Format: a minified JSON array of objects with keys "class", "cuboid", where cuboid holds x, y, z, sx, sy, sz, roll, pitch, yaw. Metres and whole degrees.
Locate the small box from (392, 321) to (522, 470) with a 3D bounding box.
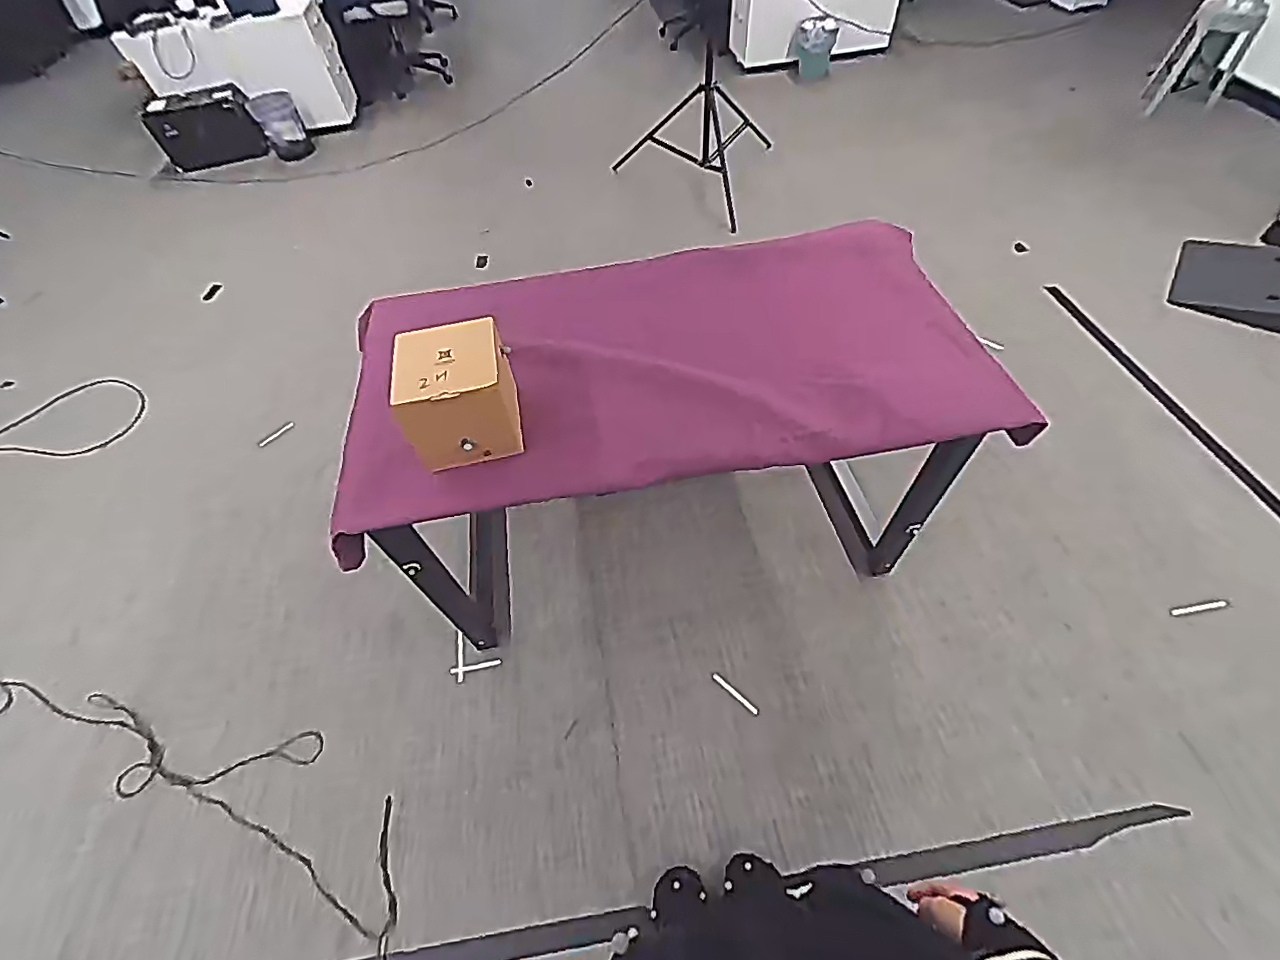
[{"class":"small box","cuboid":[-0.309,-0.144,0.939,0.168,0.176,0.179,-12,54,-4]}]
